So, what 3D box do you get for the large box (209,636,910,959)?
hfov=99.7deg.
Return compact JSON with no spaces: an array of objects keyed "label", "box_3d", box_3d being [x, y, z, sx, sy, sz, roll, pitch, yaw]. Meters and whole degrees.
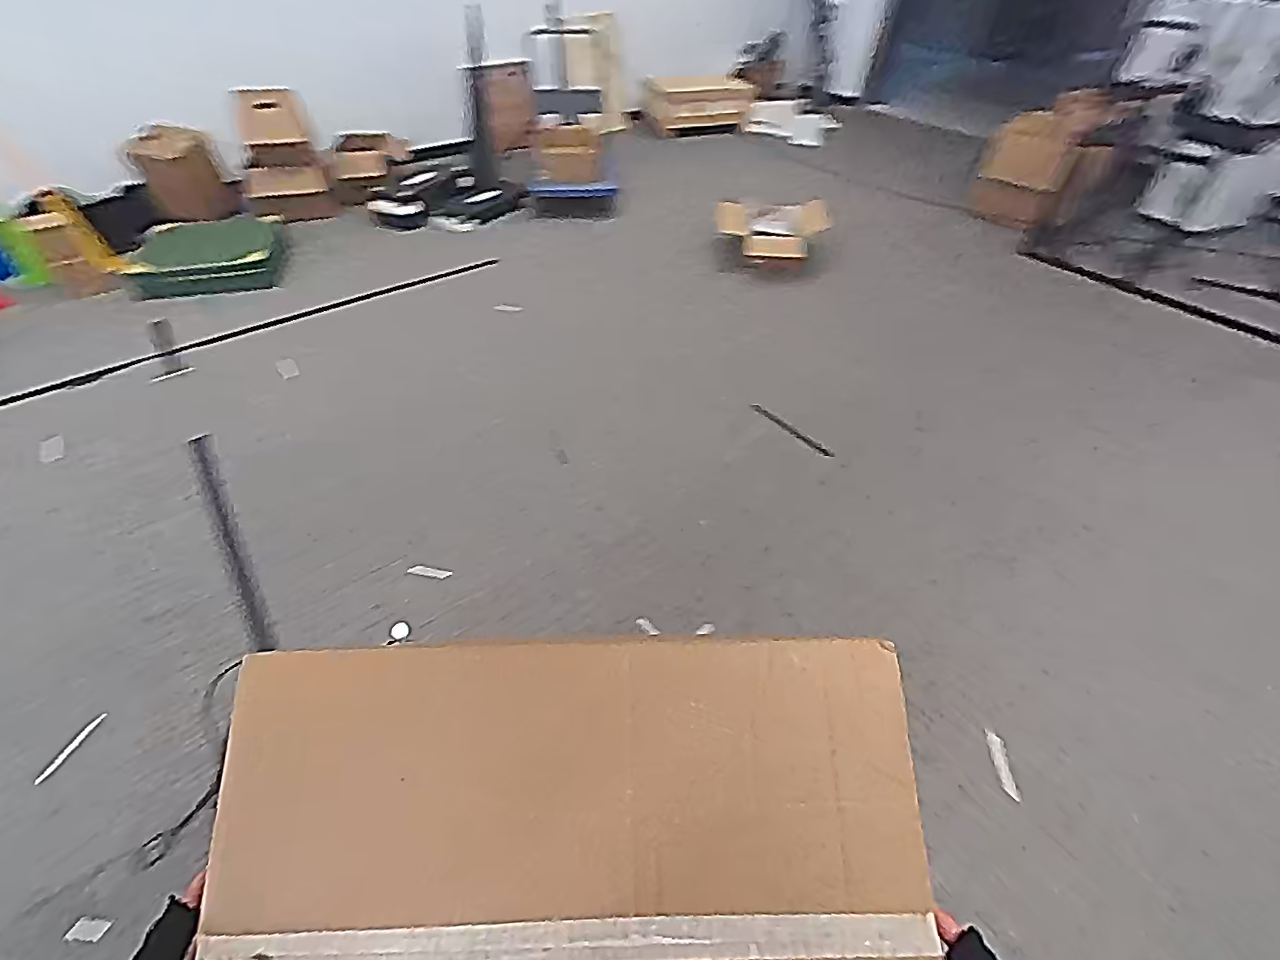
[{"label":"large box","box_3d":[-0.048,0.300,0.450,0.408,0.320,0.320,-2,76,-1]}]
